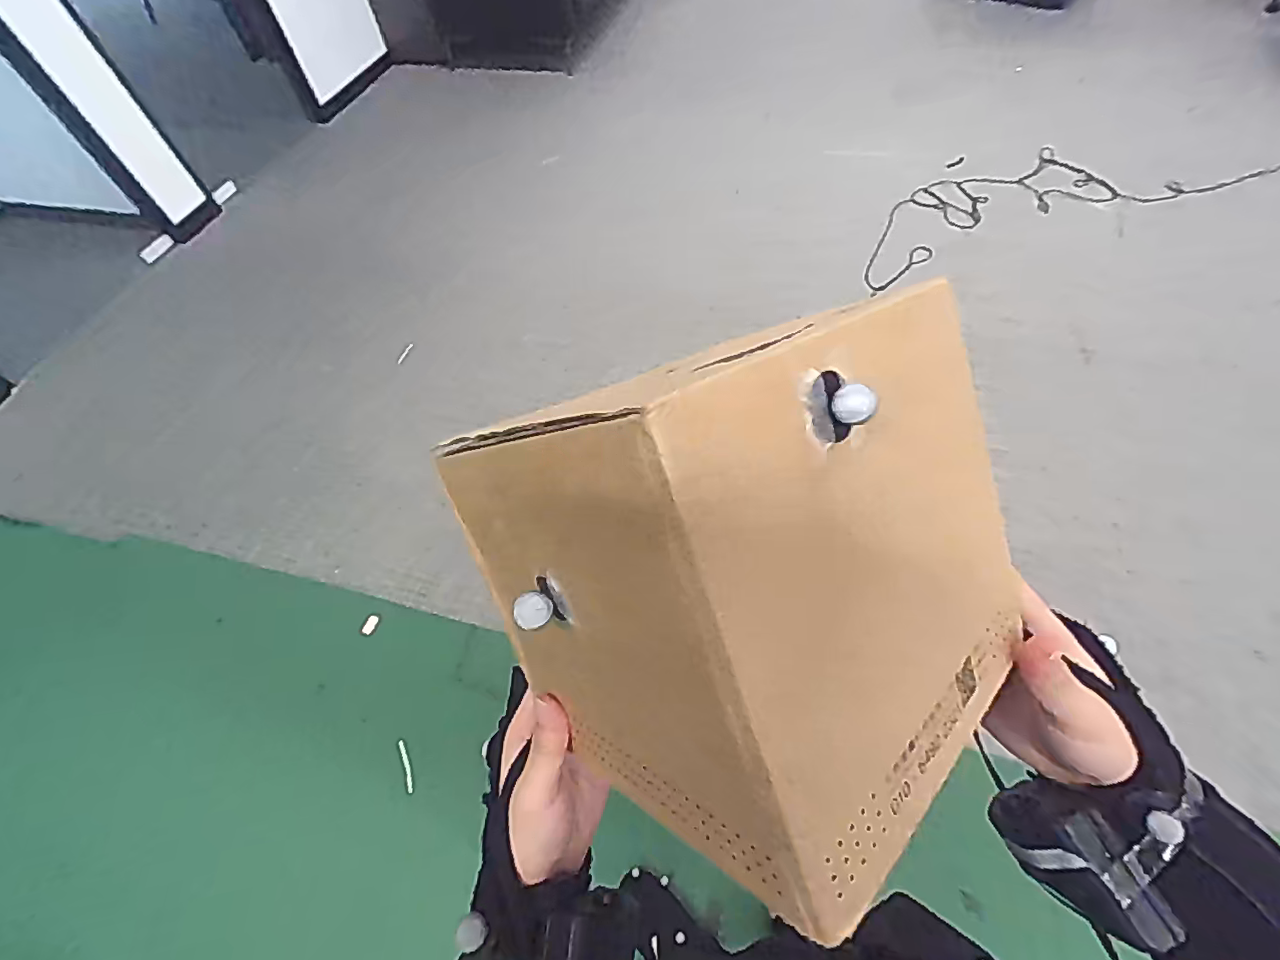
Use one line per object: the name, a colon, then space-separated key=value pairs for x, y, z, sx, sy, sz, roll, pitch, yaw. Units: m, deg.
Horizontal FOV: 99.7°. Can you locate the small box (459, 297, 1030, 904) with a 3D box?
small box: x=0.046 y=0.038 z=0.256 sx=0.168 sy=0.176 sz=0.179 roll=-30 pitch=15 yaw=-34
